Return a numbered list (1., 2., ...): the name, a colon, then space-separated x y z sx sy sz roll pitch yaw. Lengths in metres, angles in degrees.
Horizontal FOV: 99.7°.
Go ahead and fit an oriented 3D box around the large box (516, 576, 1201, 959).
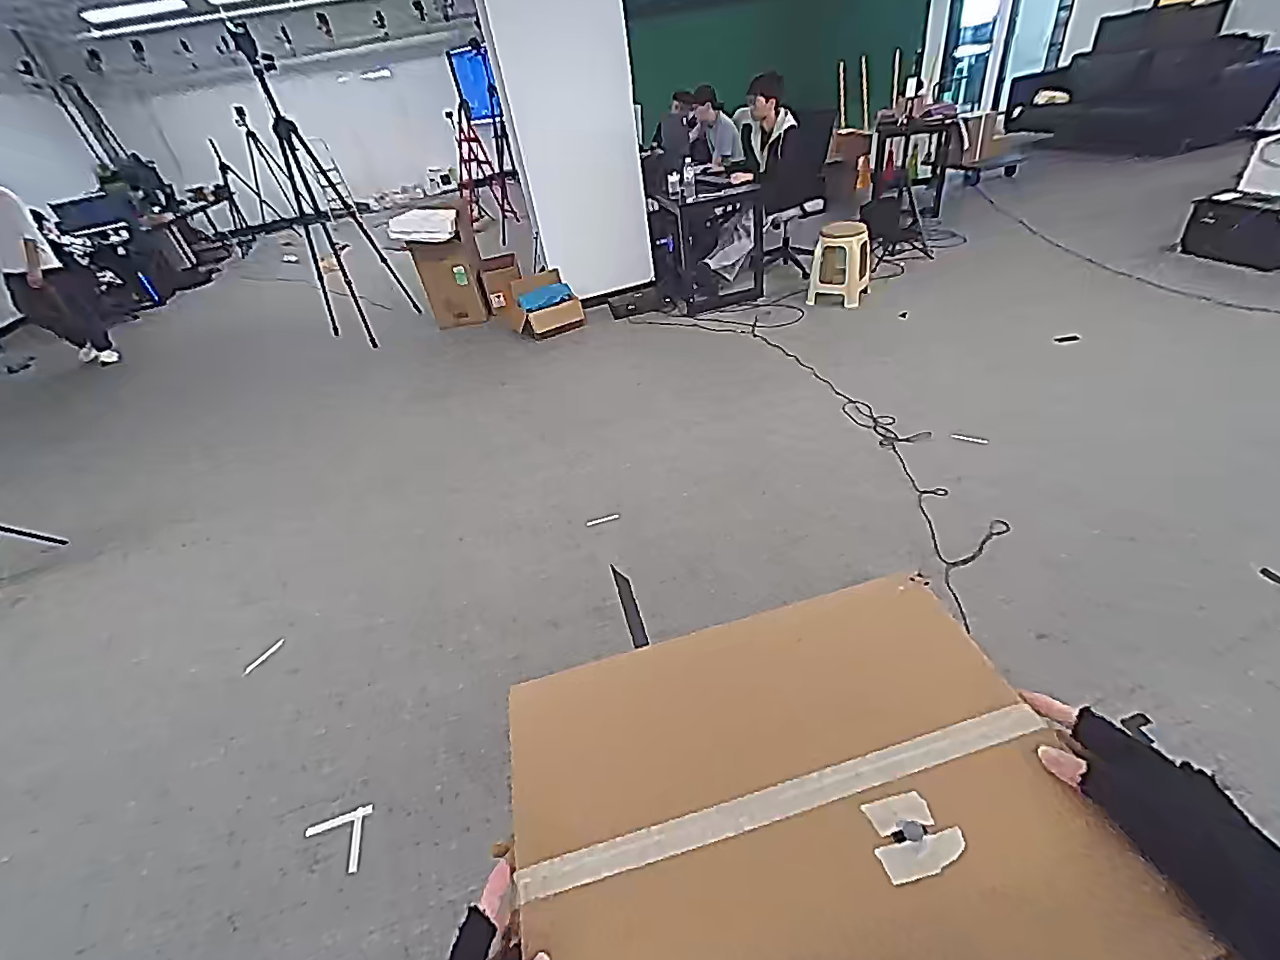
1. large box: 0.128 0.351 0.506 0.408 0.320 0.320 -15 41 -6
